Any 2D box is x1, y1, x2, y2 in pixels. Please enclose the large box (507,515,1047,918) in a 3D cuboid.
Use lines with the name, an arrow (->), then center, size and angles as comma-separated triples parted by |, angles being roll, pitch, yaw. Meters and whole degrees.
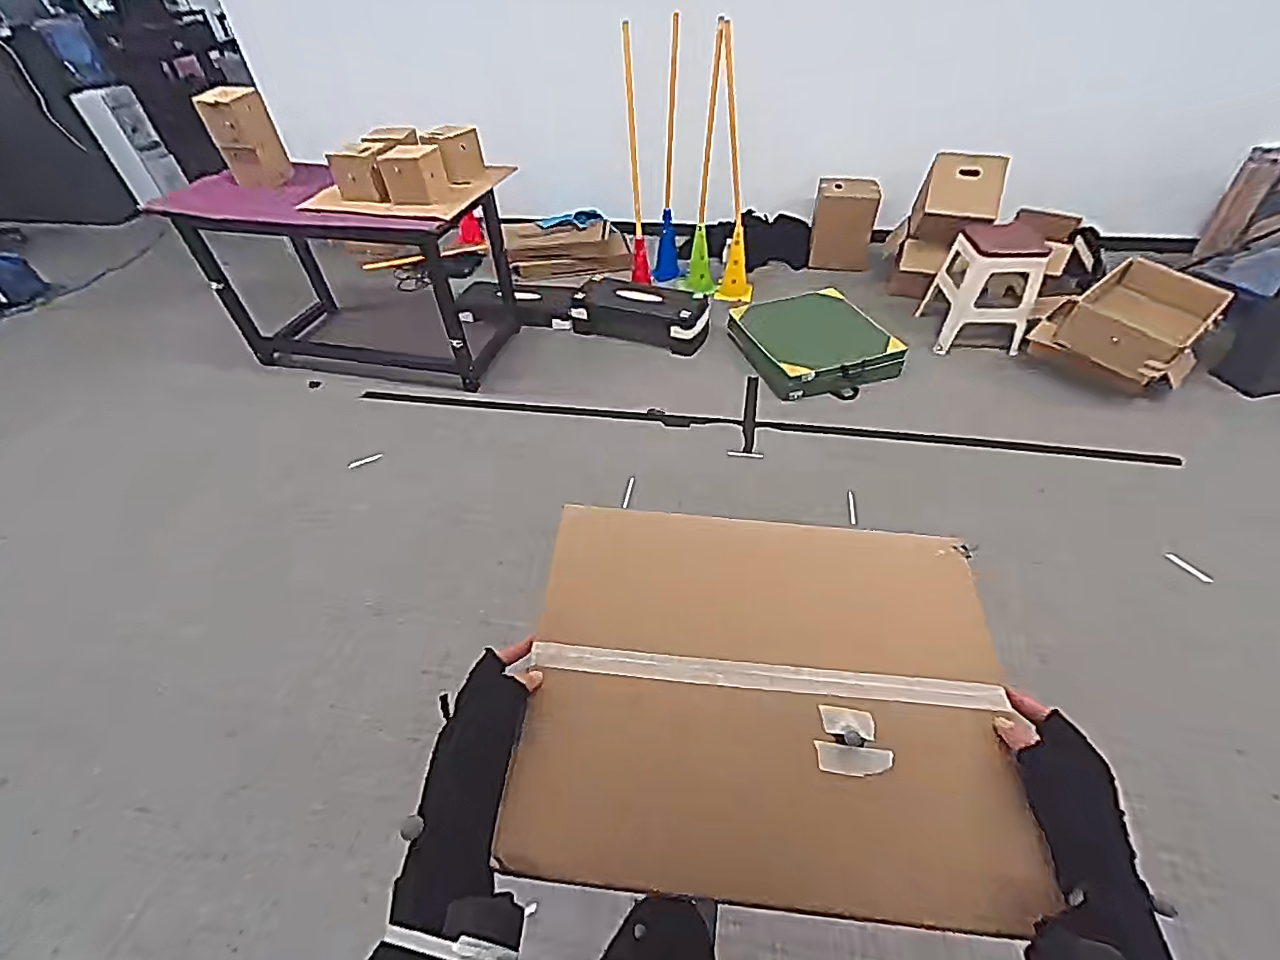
large box -> 0.106, 0.259, 0.600 | 0.408, 0.320, 0.320 | 5, 56, 3
